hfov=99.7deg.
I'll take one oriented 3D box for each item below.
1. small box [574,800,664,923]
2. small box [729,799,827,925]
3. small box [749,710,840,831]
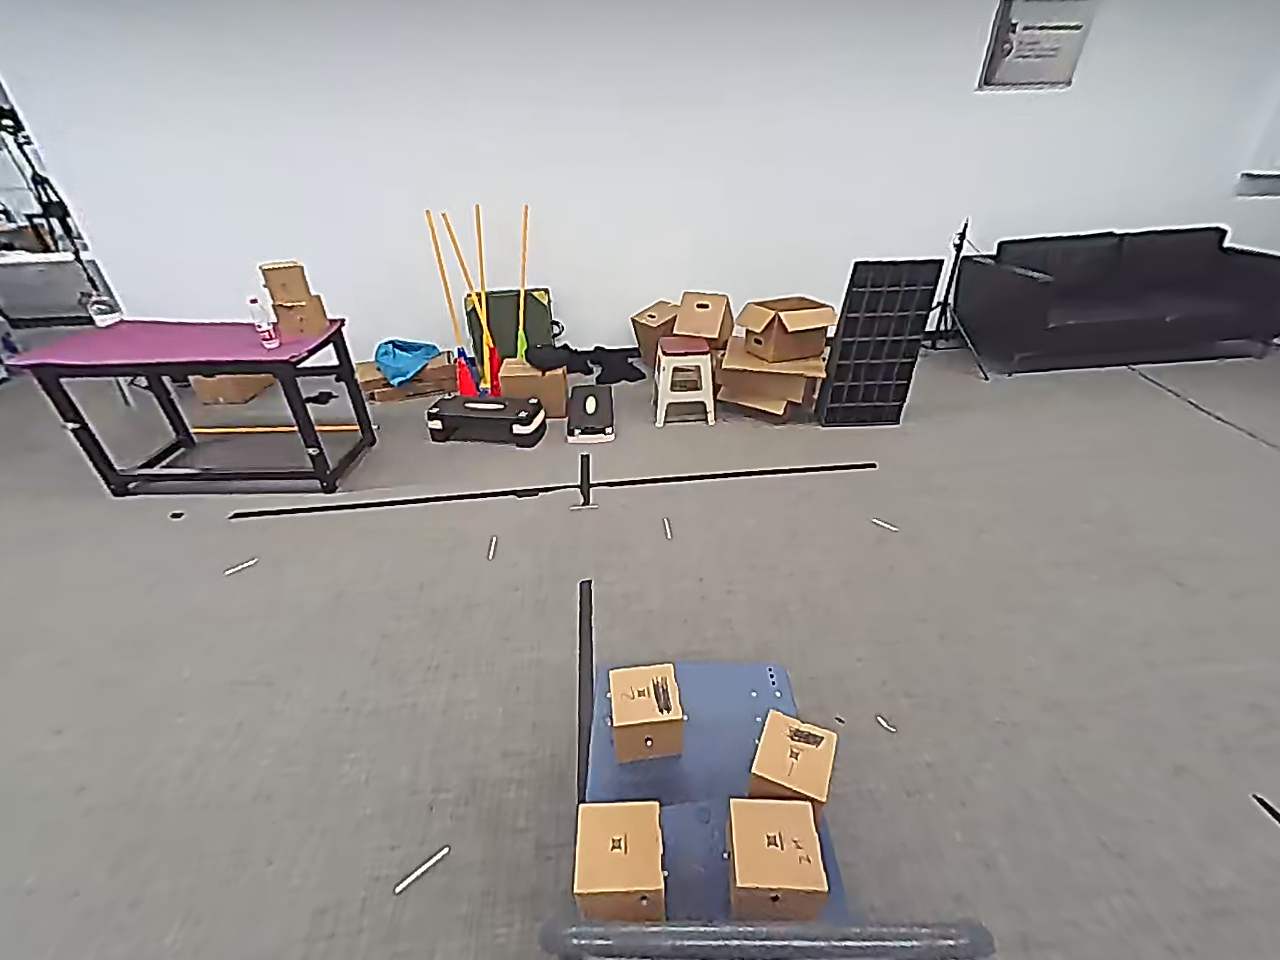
[{"bbox_3d":[-0.040,0.805,1.141,0.179,0.176,0.168,-1,33,-1],"label":"small box"},{"bbox_3d":[0.278,0.798,1.132,0.179,0.176,0.168,1,33,5],"label":"small box"},{"bbox_3d":[0.364,0.696,1.287,0.168,0.176,0.179,13,36,23],"label":"small box"}]
